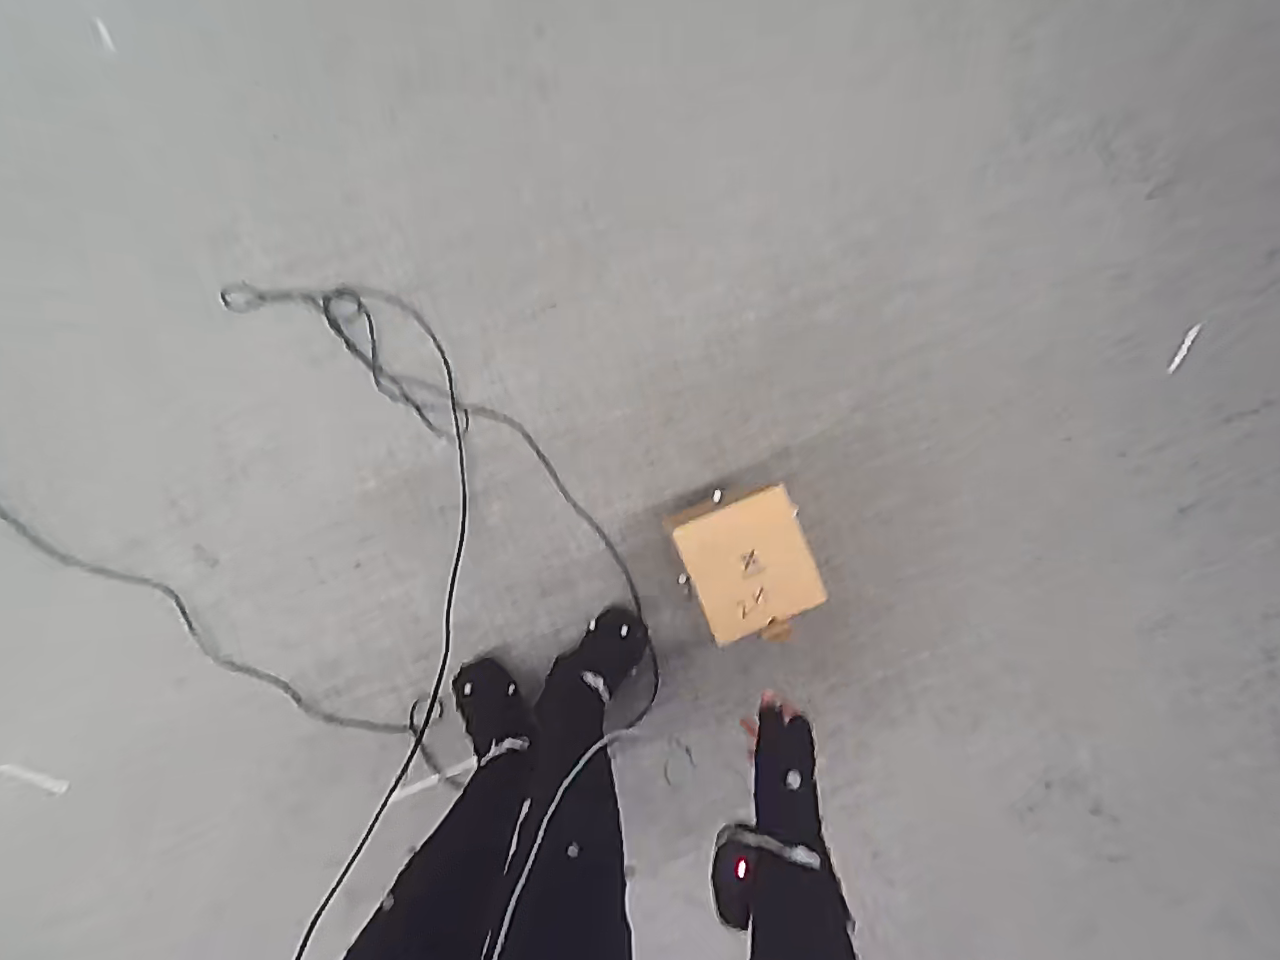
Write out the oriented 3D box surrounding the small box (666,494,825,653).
[{"bbox_3d":[0.147,0.128,0.821,0.168,0.176,0.179,-22,92,-1],"label":"small box"}]
